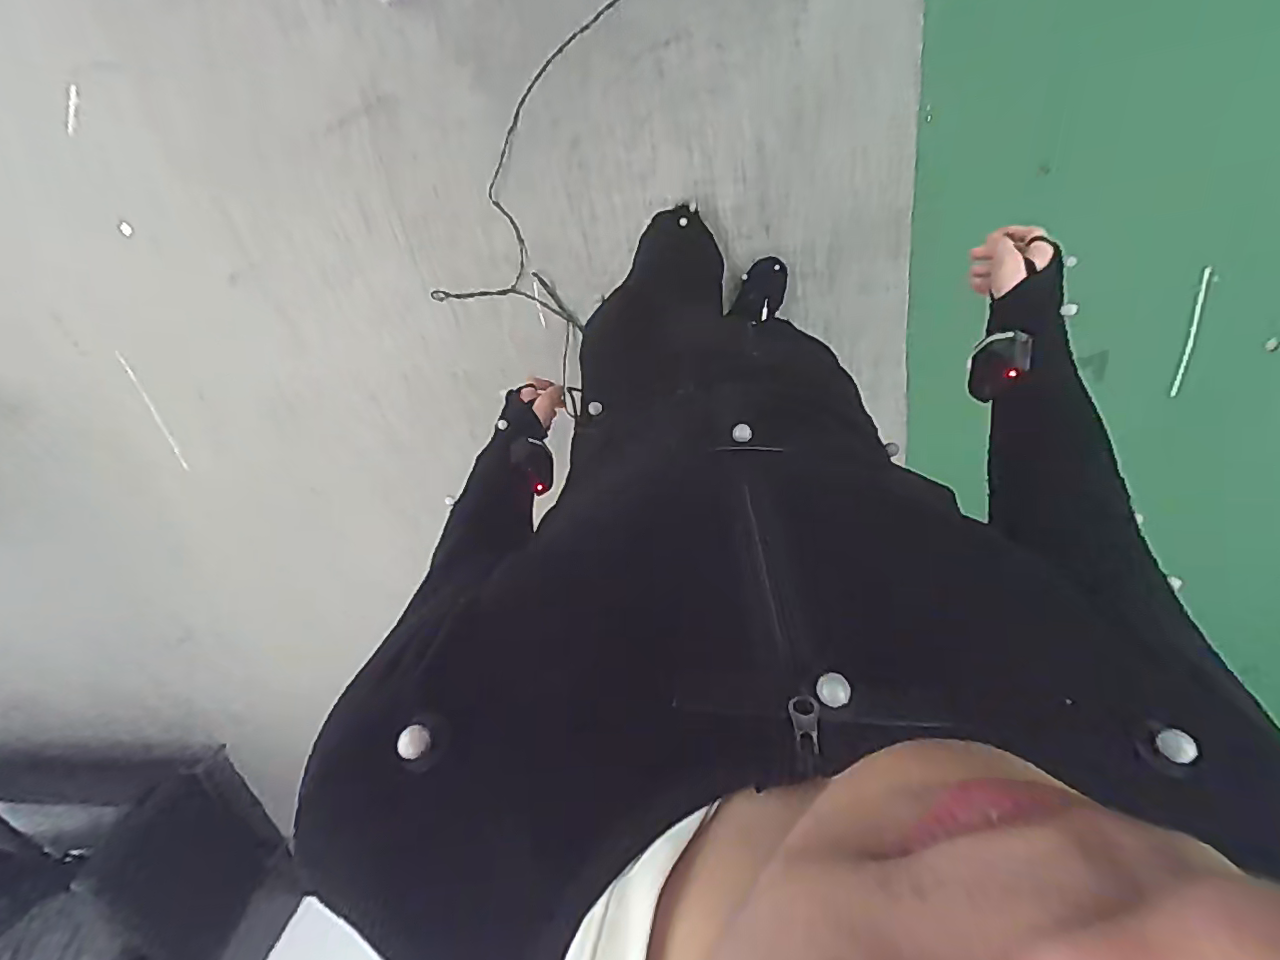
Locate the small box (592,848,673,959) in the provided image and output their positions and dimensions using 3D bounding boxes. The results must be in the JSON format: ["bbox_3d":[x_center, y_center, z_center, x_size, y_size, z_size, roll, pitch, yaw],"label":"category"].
[{"bbox_3d":[-0.011,1.085,1.380,0.168,0.176,0.179,-4,113,12],"label":"small box"}]

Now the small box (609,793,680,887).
[{"bbox_3d":[0.019,1.029,1.533,0.168,0.176,0.179,-2,114,12],"label":"small box"}]
